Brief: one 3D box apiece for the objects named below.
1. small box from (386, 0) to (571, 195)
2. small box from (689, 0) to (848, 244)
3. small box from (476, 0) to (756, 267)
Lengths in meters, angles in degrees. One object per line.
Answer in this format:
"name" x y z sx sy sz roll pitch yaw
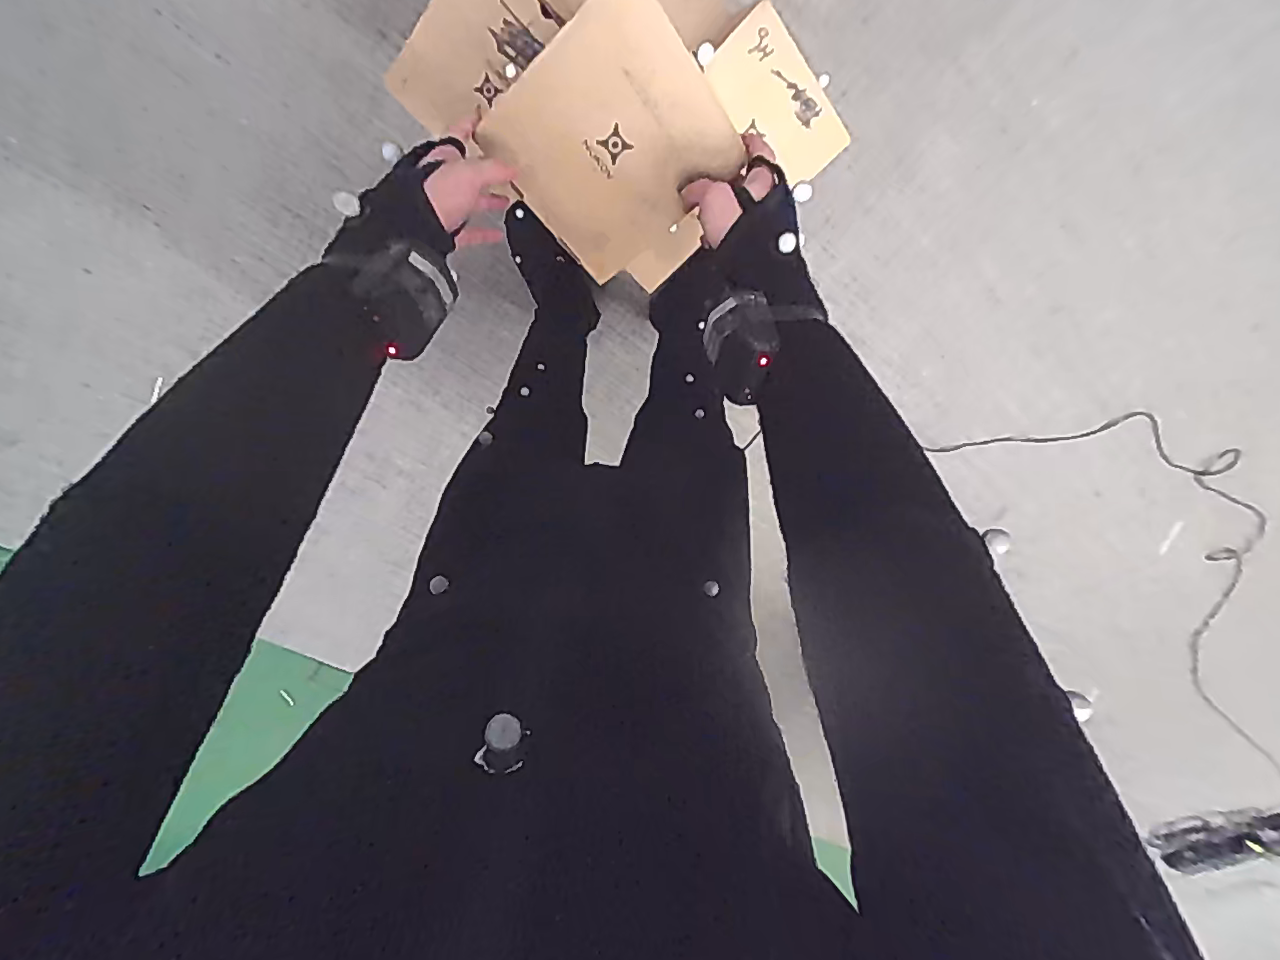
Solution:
"small box" -0.143 -0.470 0.613 0.179 0.176 0.168 -34 121 26
"small box" 0.113 -0.425 0.651 0.179 0.176 0.168 -36 120 23
"small box" -0.018 -0.342 0.502 0.179 0.176 0.168 -32 126 24
